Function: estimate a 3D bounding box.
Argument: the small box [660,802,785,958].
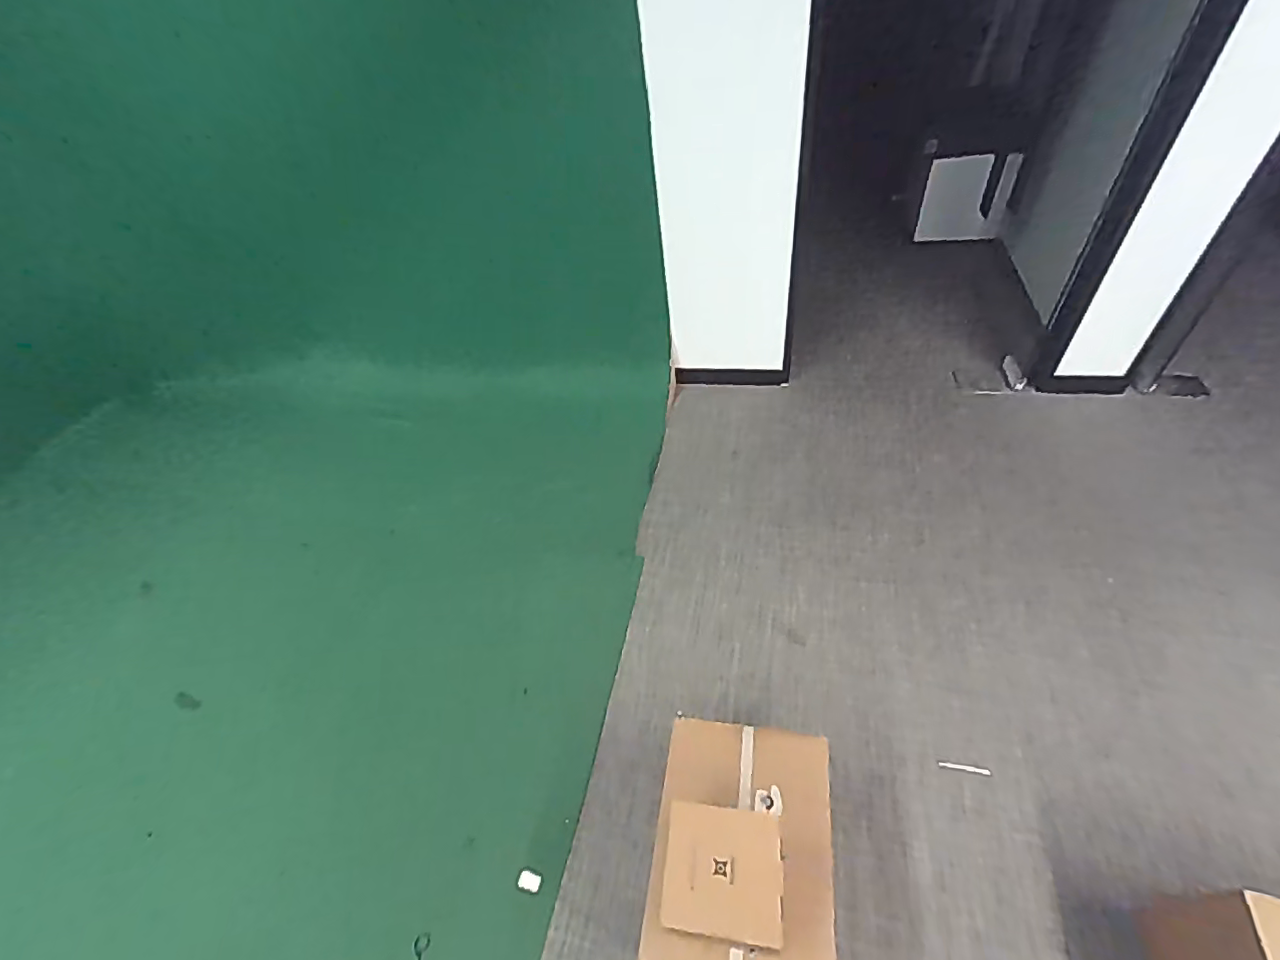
[{"bbox_3d":[0.140,0.643,0.868,0.179,0.176,0.168,1,46,14],"label":"small box"}]

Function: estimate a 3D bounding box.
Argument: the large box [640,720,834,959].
[{"bbox_3d":[0.203,0.760,1.086,0.320,0.320,0.408,3,47,13],"label":"large box"}]
